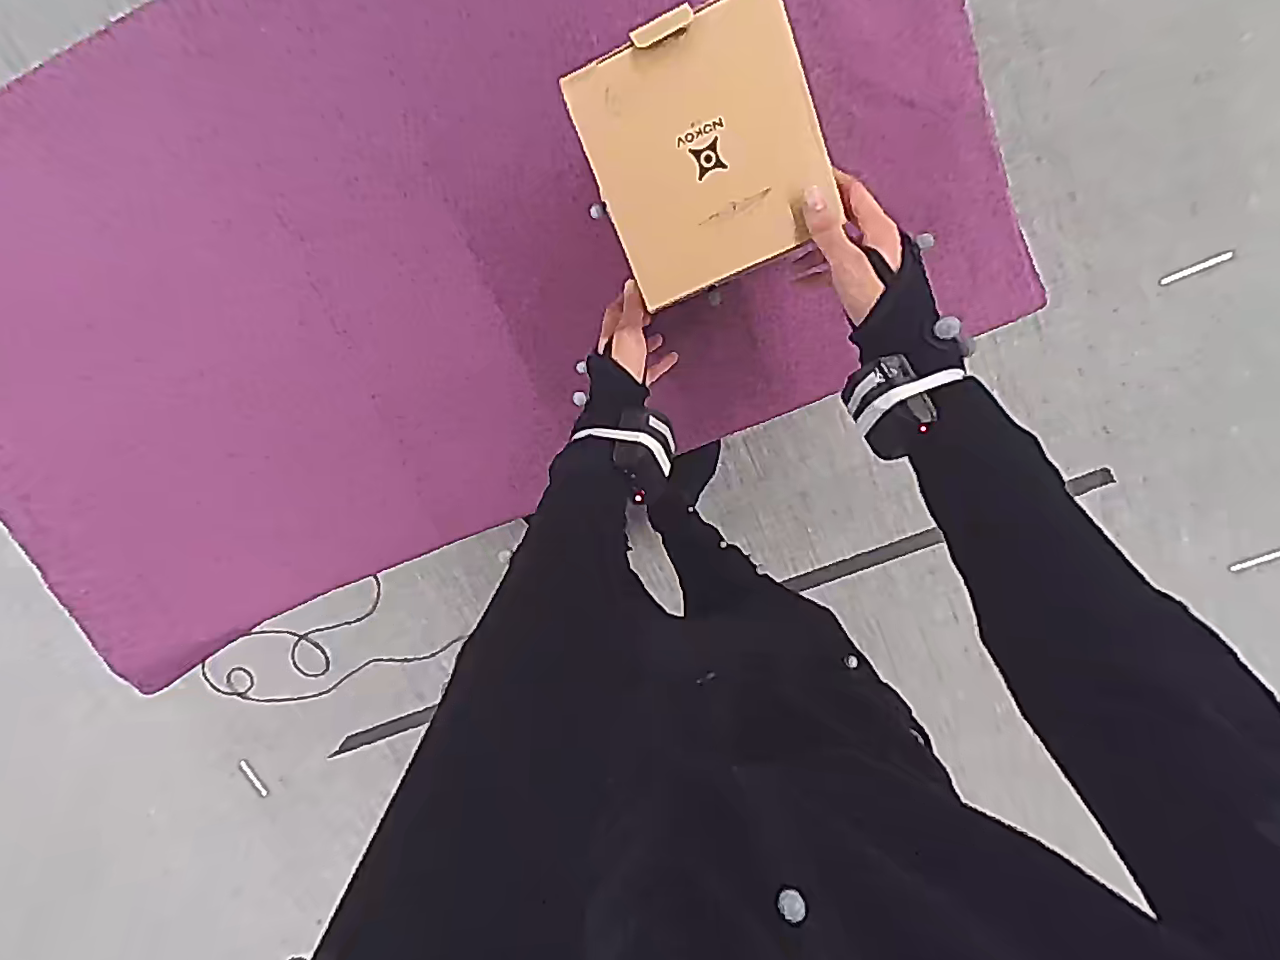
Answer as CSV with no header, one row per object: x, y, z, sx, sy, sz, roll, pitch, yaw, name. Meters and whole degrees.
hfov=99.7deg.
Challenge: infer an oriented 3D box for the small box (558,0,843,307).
0.047,-0.264,0.468,0.168,0.176,0.179,-21,104,8,small box
